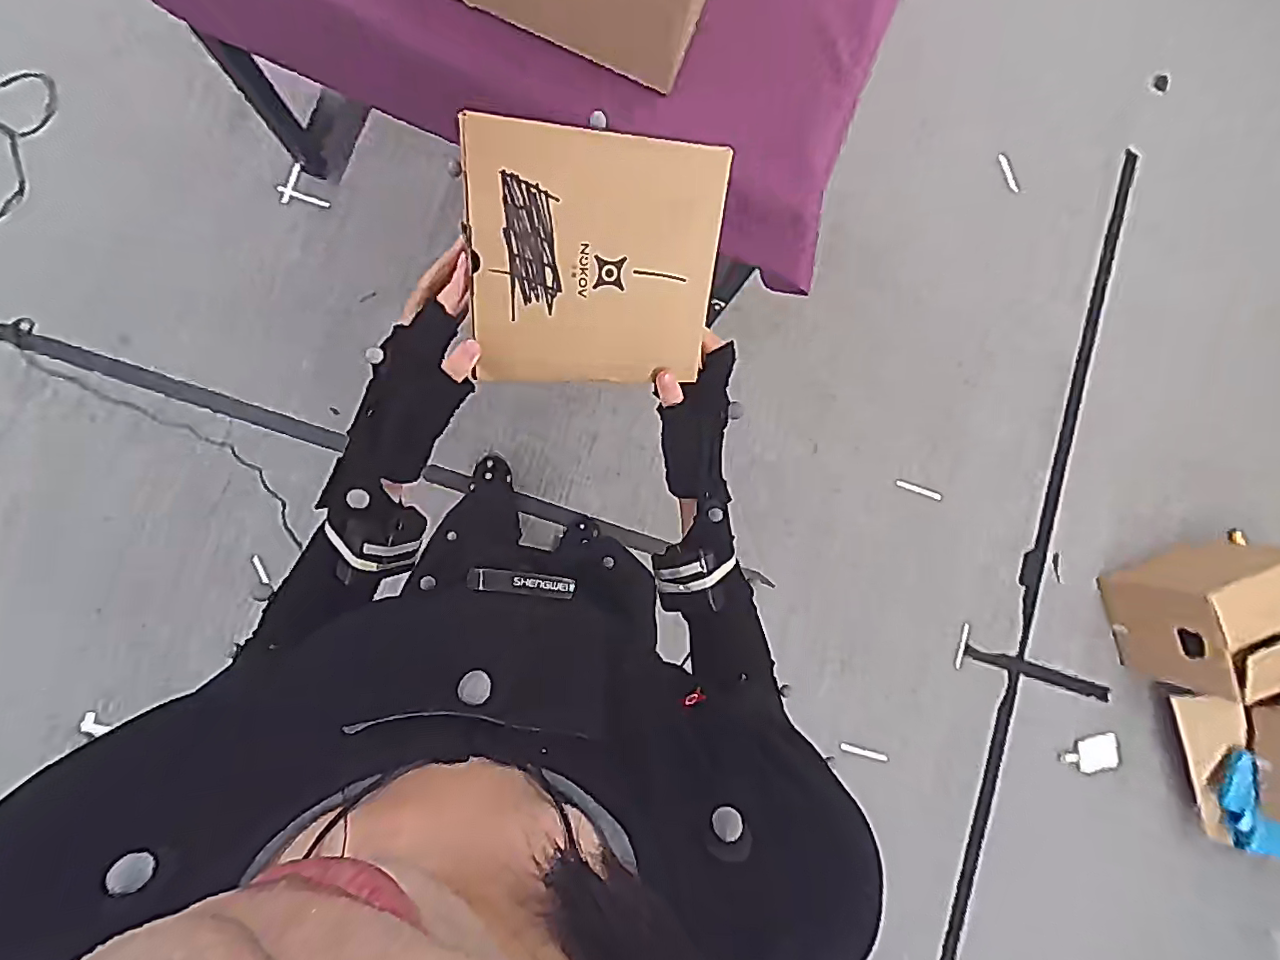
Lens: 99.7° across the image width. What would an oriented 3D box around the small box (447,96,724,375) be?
[{"bbox_3d":[-0.056,-0.191,0.438,0.179,0.176,0.168,-3,121,-16],"label":"small box"}]
